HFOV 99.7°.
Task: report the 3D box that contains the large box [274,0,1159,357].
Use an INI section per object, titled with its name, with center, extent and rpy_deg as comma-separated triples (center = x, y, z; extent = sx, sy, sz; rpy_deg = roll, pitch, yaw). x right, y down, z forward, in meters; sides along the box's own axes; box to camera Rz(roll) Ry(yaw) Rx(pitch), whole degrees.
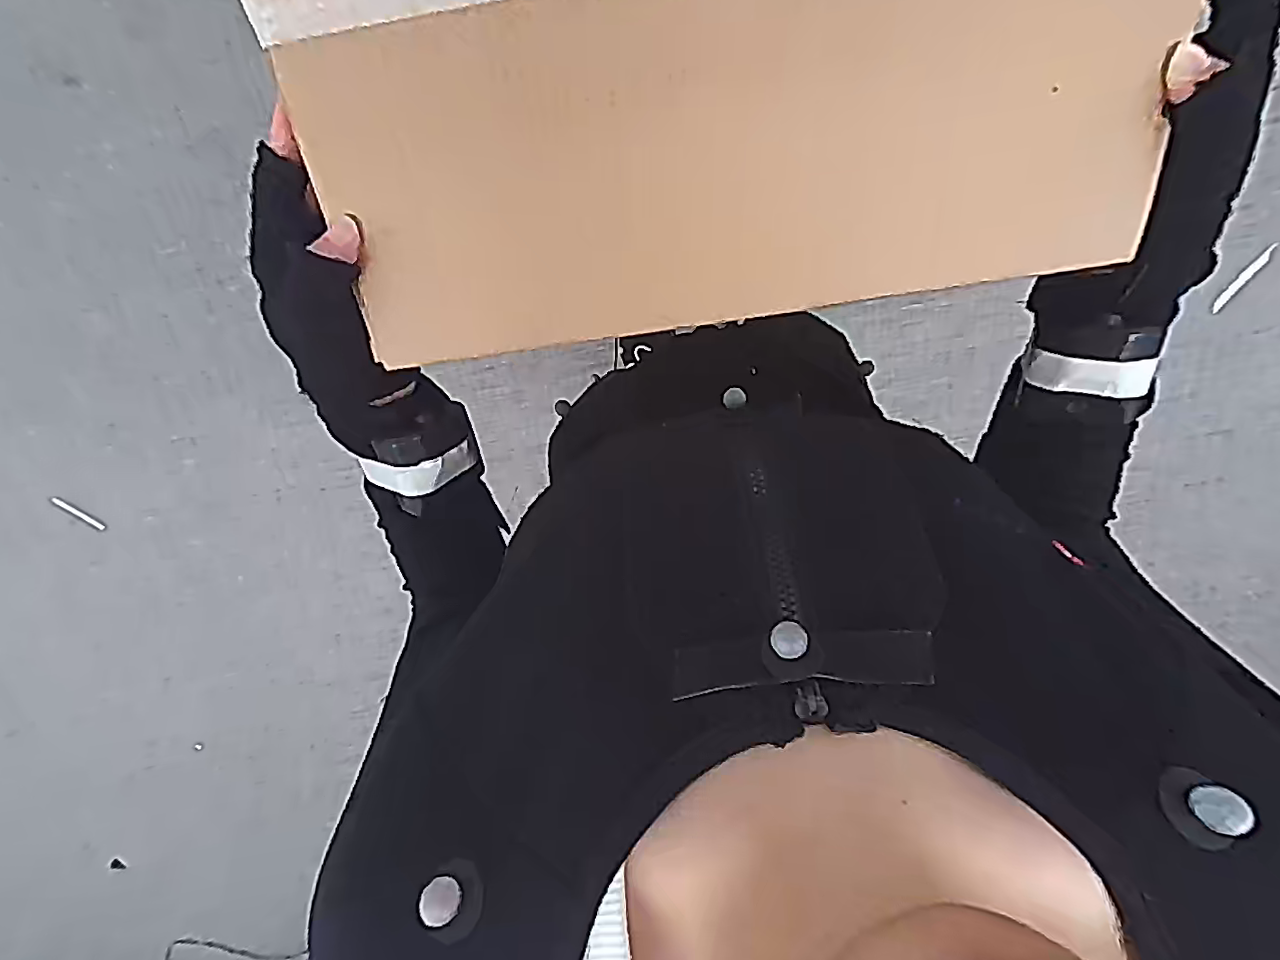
[large box]
center = 0.028, -0.299, 0.369
extent = 0.408, 0.320, 0.320
rpy_deg = -8, 117, 3
